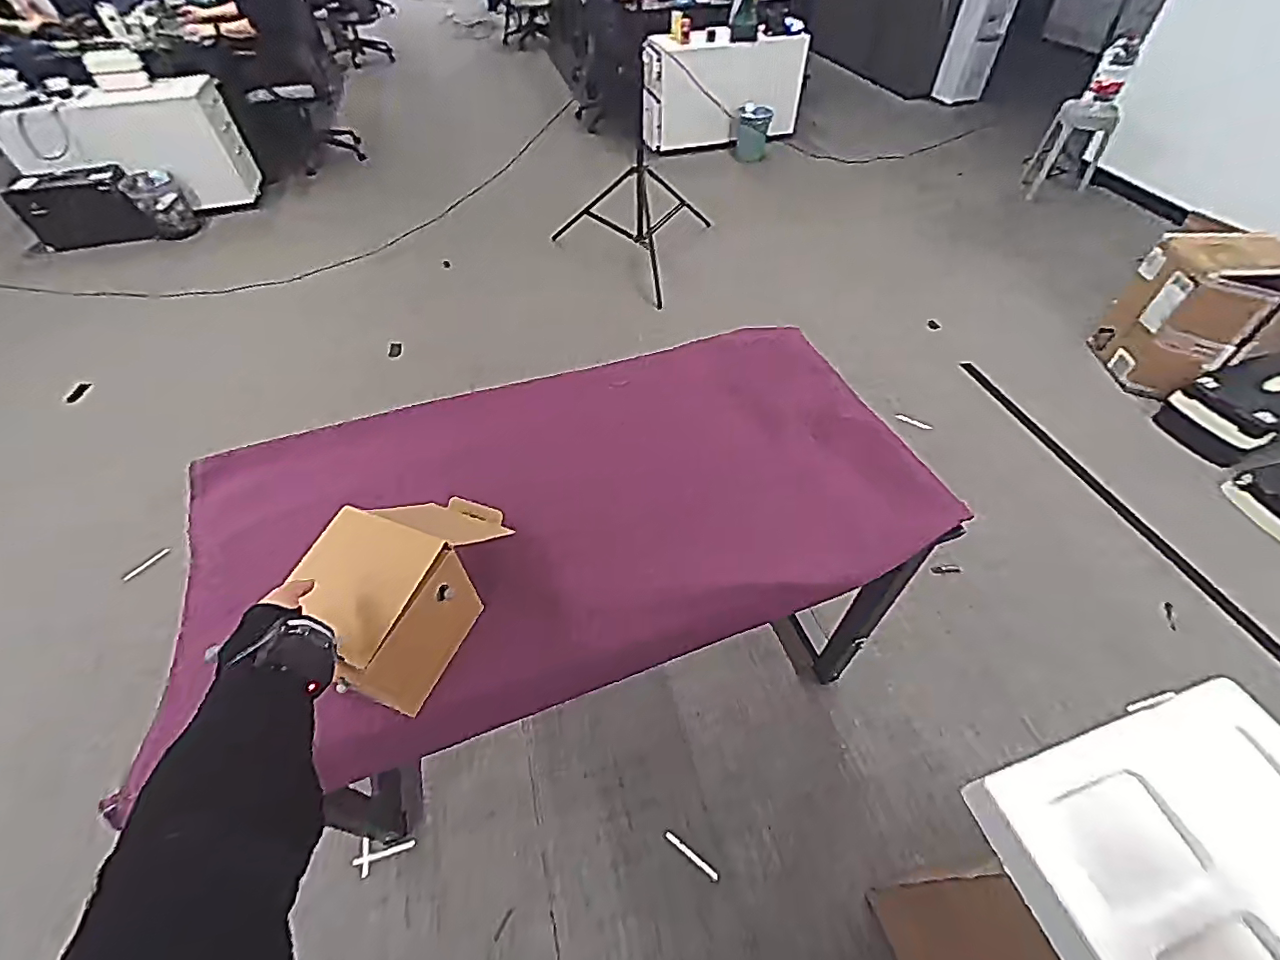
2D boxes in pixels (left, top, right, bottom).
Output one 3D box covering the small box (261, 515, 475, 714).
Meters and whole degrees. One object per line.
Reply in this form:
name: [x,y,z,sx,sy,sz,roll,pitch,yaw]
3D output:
small box: [-0.346,0.182,0.734,0.168,0.176,0.179,15,51,15]
